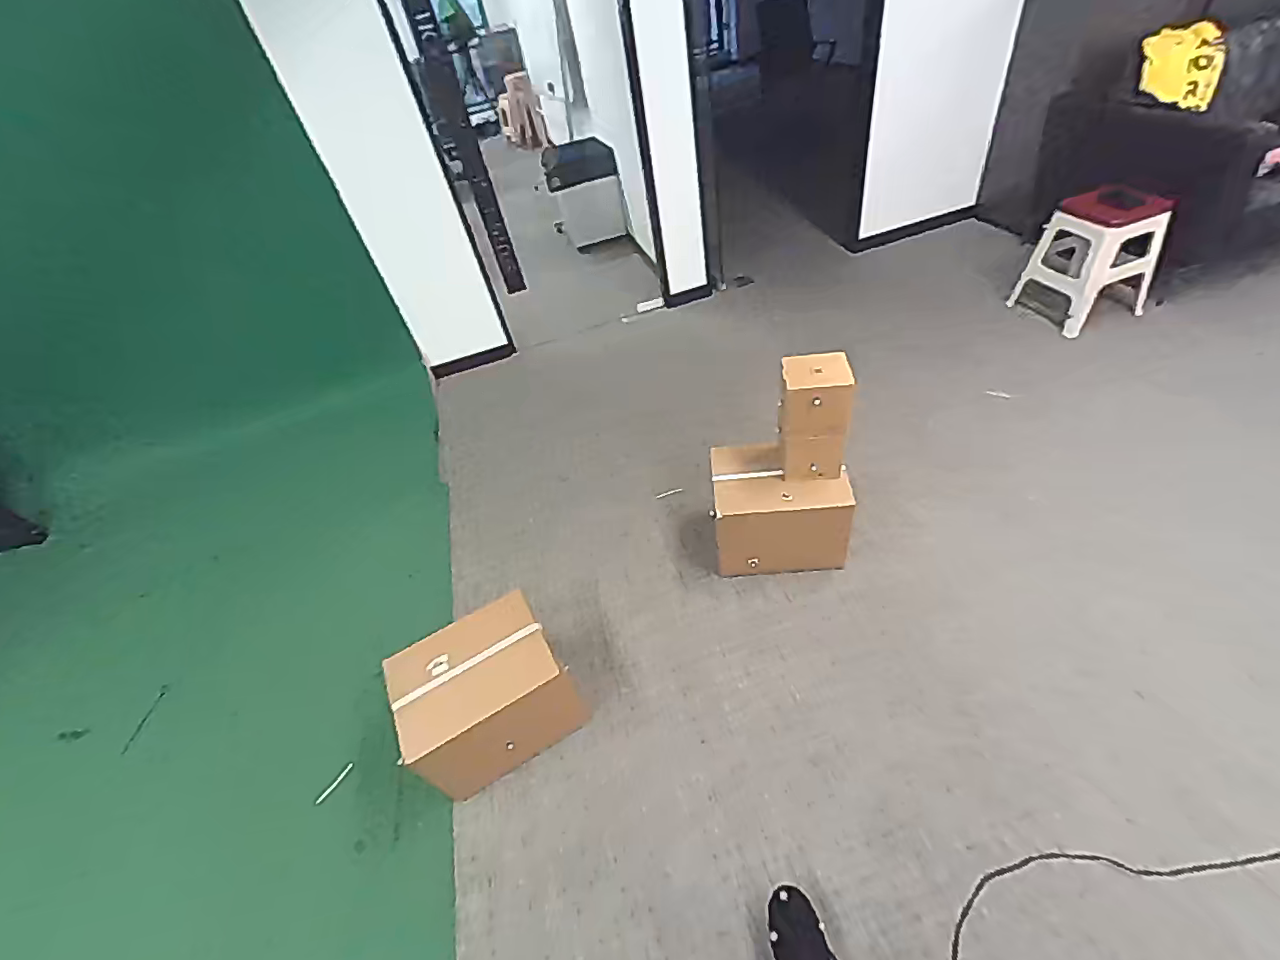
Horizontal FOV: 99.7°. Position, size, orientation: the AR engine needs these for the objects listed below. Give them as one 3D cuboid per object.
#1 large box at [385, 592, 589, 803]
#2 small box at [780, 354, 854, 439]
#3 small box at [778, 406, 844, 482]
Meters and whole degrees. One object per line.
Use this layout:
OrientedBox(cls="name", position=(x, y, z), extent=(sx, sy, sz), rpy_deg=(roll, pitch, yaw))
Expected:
OrientedBox(cls="large box", position=(-0.409, 0.592, 1.485), extent=(0.408, 0.320, 0.320), rpy_deg=(-28, 45, -14))
OrientedBox(cls="small box", position=(0.491, -0.232, 1.524), extent=(0.179, 0.176, 0.168), rpy_deg=(-4, 43, 10))
OrientedBox(cls="small box", position=(0.509, -0.114, 1.635), extent=(0.168, 0.176, 0.179), rpy_deg=(-5, 43, 9))
